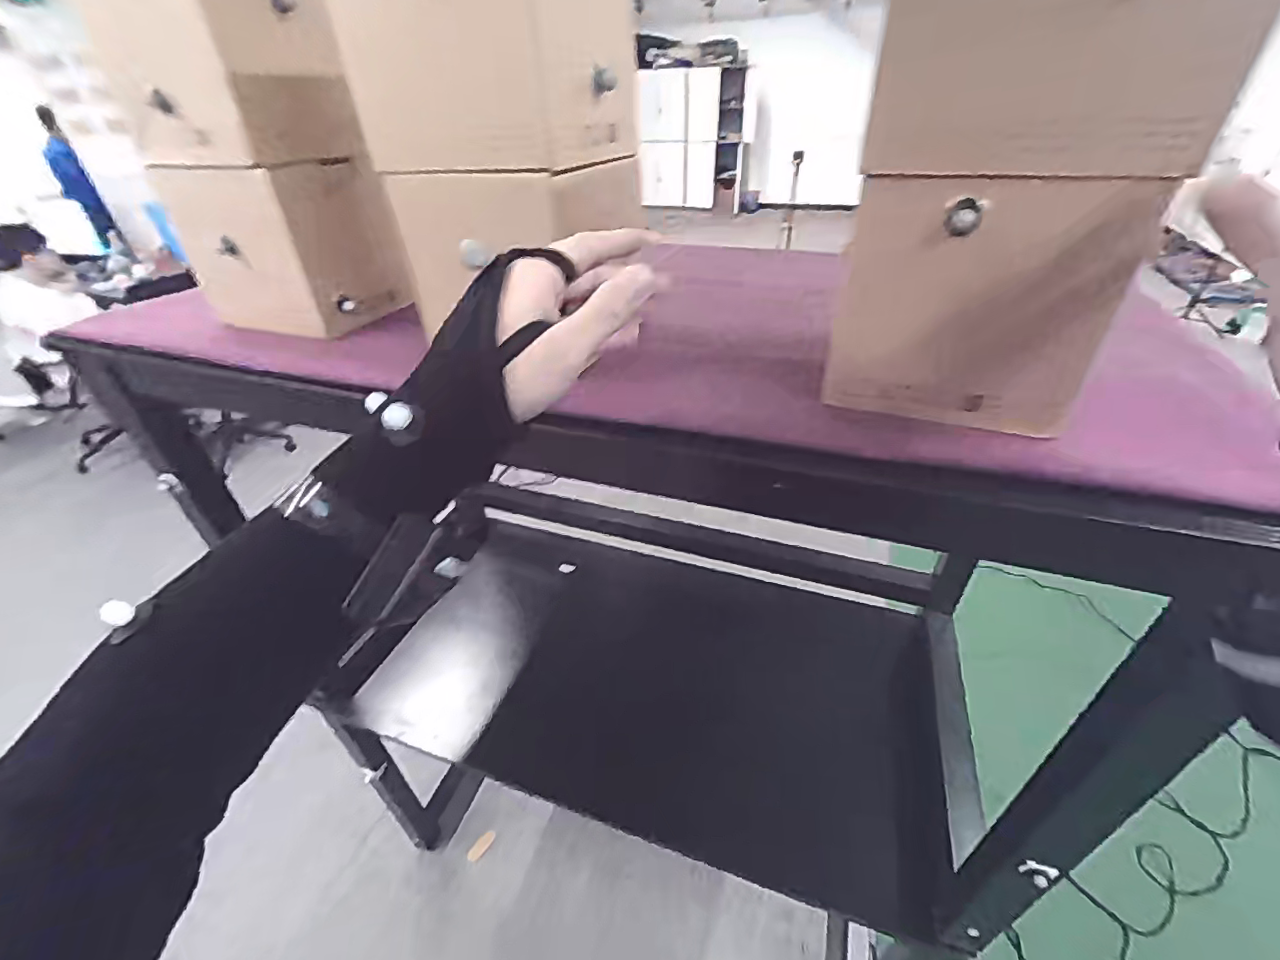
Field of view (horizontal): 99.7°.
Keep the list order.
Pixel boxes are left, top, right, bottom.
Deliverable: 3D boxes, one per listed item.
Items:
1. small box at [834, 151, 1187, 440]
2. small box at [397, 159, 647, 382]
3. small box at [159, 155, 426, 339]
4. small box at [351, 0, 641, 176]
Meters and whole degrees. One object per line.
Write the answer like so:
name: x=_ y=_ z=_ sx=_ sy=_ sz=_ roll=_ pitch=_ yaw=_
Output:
small box: x=0.259 y=-0.154 z=0.426 sx=0.168 sy=0.176 sz=0.179 roll=12 pitch=38 yaw=22
small box: x=-0.099 y=-0.216 z=0.539 sx=0.168 sy=0.176 sz=0.179 roll=12 pitch=38 yaw=21
small box: x=-0.386 y=-0.276 z=0.636 sx=0.179 sy=0.176 sz=0.168 roll=10 pitch=37 yaw=18
small box: x=-0.110 y=-0.350 z=0.444 sx=0.179 sy=0.176 sz=0.168 roll=11 pitch=37 yaw=20
